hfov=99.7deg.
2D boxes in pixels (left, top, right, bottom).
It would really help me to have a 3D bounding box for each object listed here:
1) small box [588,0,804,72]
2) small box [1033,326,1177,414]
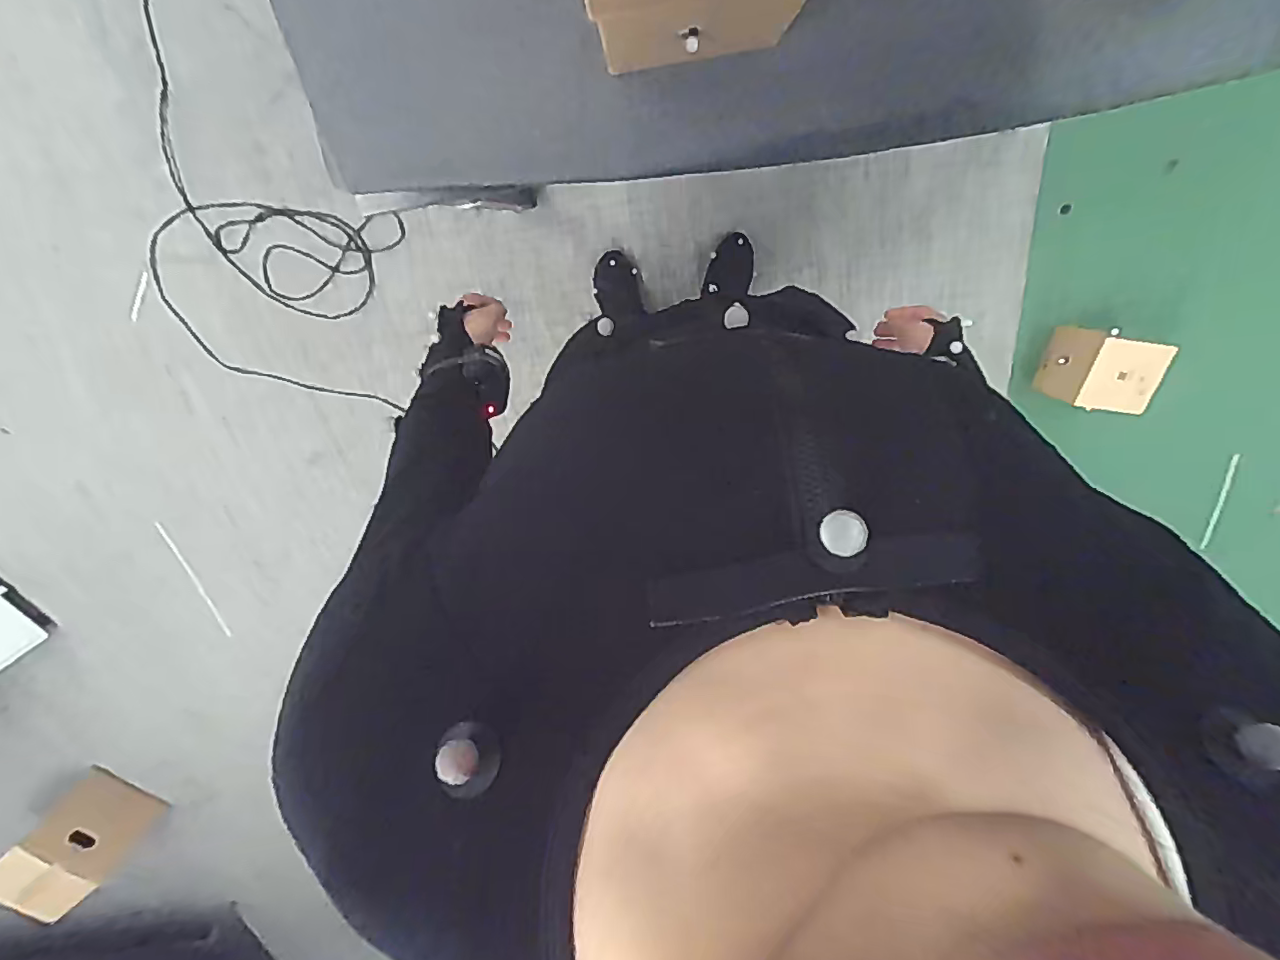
[{"bbox_3d":[0.038,-0.470,0.450,0.179,0.176,0.168,-6,114,5],"label":"small box"},{"bbox_3d":[1.129,-0.277,1.332,0.179,0.176,0.168,7,116,-3],"label":"small box"}]
